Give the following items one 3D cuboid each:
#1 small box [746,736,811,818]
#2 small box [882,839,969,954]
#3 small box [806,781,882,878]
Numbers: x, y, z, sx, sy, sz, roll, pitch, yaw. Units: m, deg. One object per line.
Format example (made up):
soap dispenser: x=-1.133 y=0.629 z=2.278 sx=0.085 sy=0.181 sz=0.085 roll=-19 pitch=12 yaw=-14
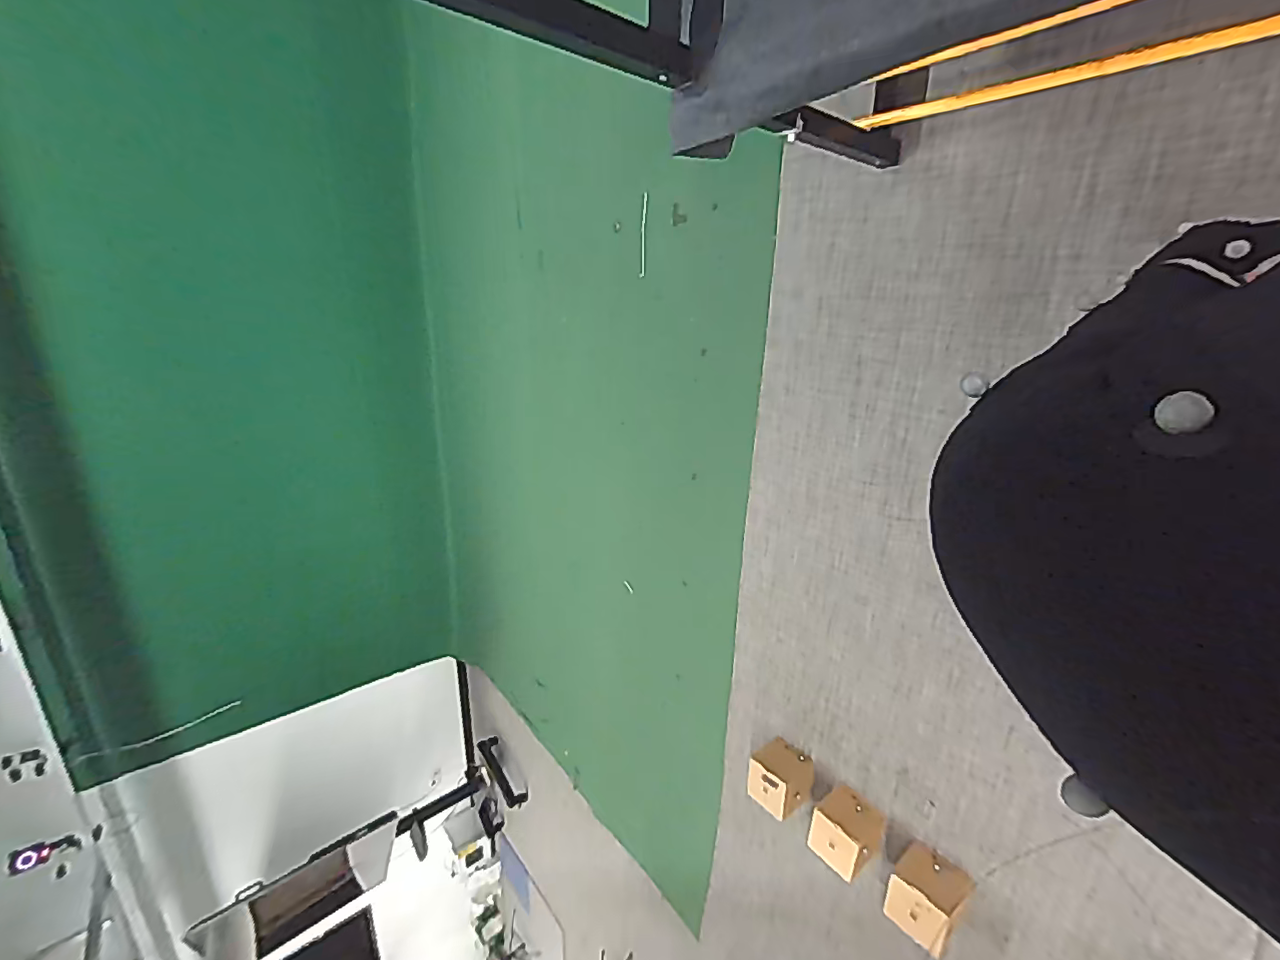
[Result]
small box: x=0.517 y=1.095 z=2.012 sx=0.168 sy=0.176 sz=0.179 roll=21 pitch=116 yaw=48
small box: x=0.855 y=1.237 z=1.618 sx=0.168 sy=0.176 sz=0.179 roll=21 pitch=116 yaw=46
small box: x=0.688 y=1.166 z=1.816 sx=0.168 sy=0.176 sz=0.179 roll=25 pitch=118 yaw=46
